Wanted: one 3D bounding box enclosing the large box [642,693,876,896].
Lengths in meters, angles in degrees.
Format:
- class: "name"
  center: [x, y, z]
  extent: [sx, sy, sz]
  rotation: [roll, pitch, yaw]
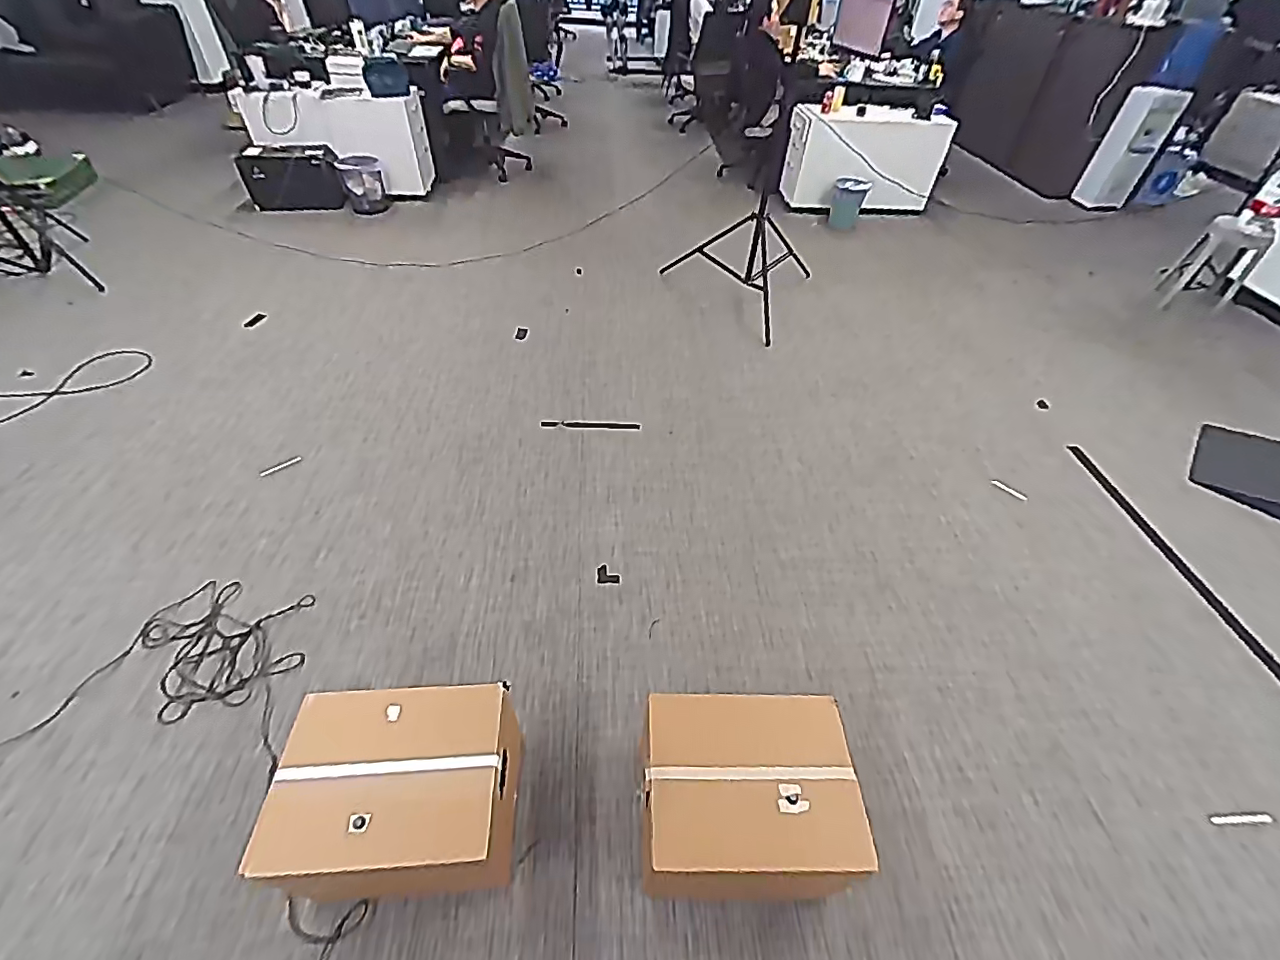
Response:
- class: "large box"
  center: [0.215, 0.676, 1.163]
  extent: [0.408, 0.320, 0.320]
  rotation: [2, 46, -3]
